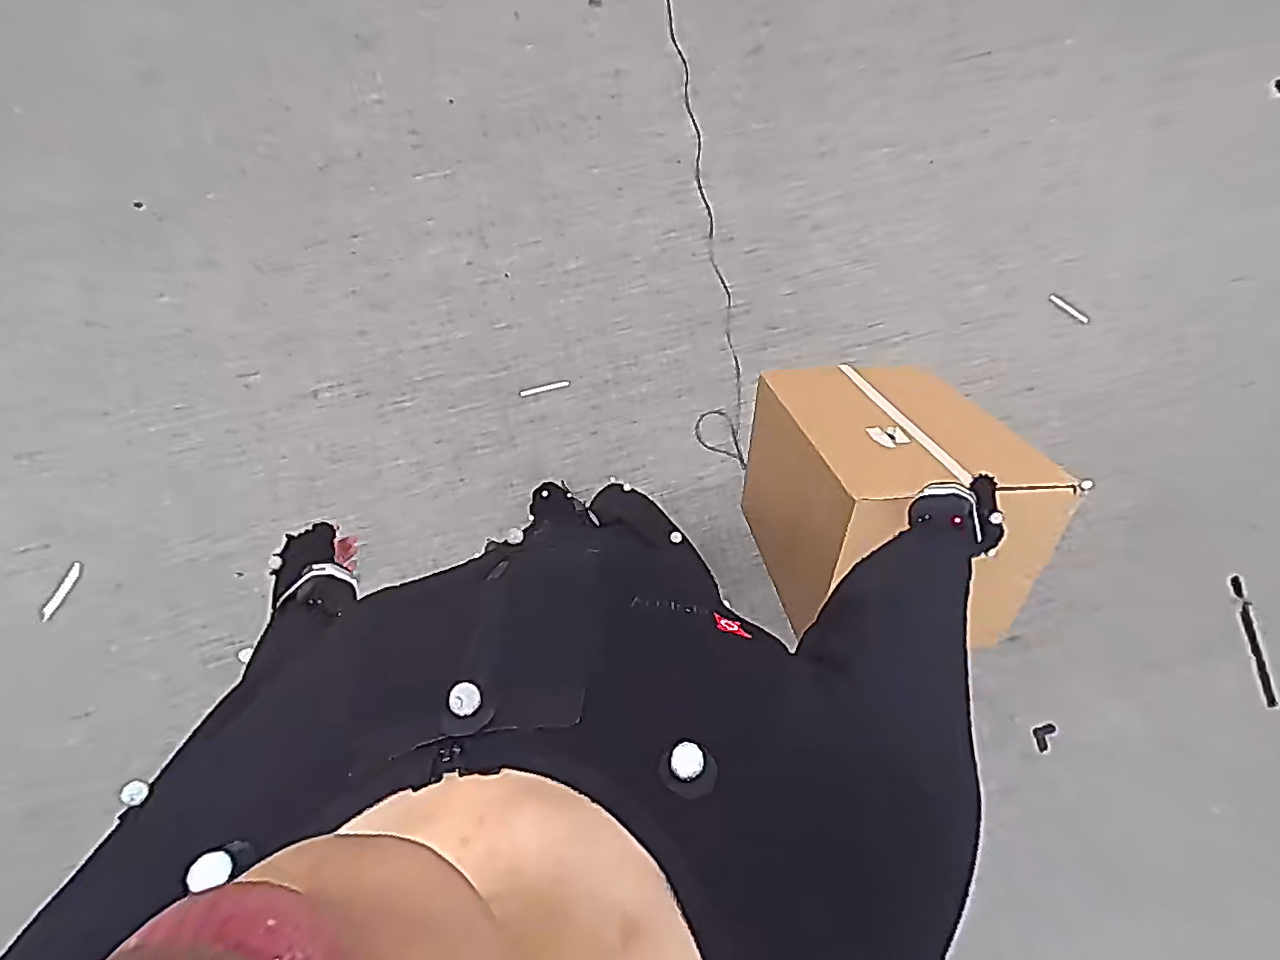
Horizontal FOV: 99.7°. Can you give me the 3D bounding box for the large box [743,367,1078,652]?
[{"bbox_3d":[0.397,0.030,0.936,0.320,0.408,0.320,-3,126,-6],"label":"large box"}]
